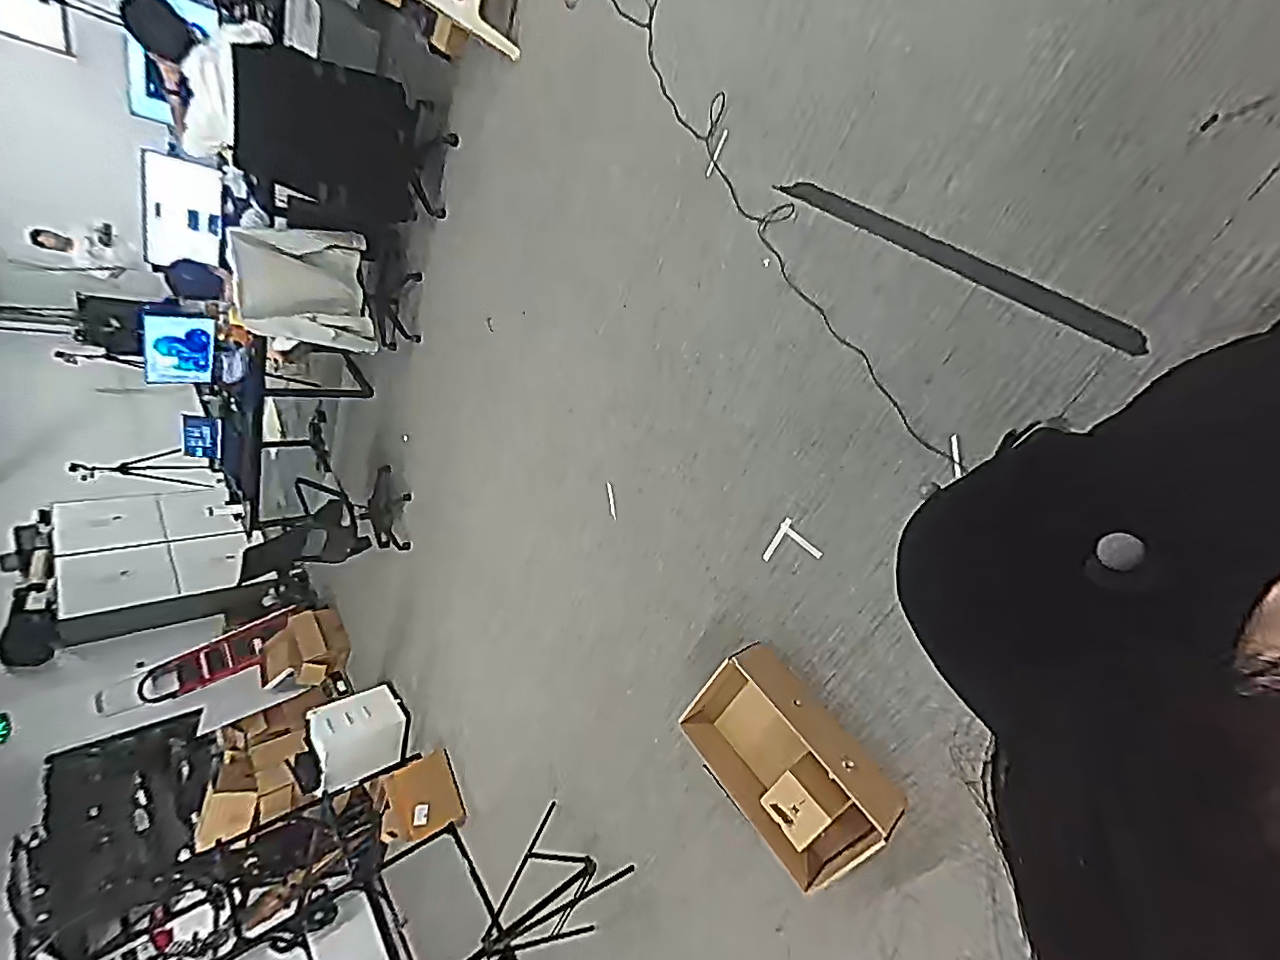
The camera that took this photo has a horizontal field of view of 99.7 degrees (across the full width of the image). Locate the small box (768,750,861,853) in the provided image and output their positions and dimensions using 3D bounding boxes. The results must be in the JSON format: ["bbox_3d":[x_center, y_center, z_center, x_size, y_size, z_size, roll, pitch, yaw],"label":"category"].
[{"bbox_3d":[0.522,0.948,1.606,0.168,0.176,0.179,44,124,33],"label":"small box"}]
